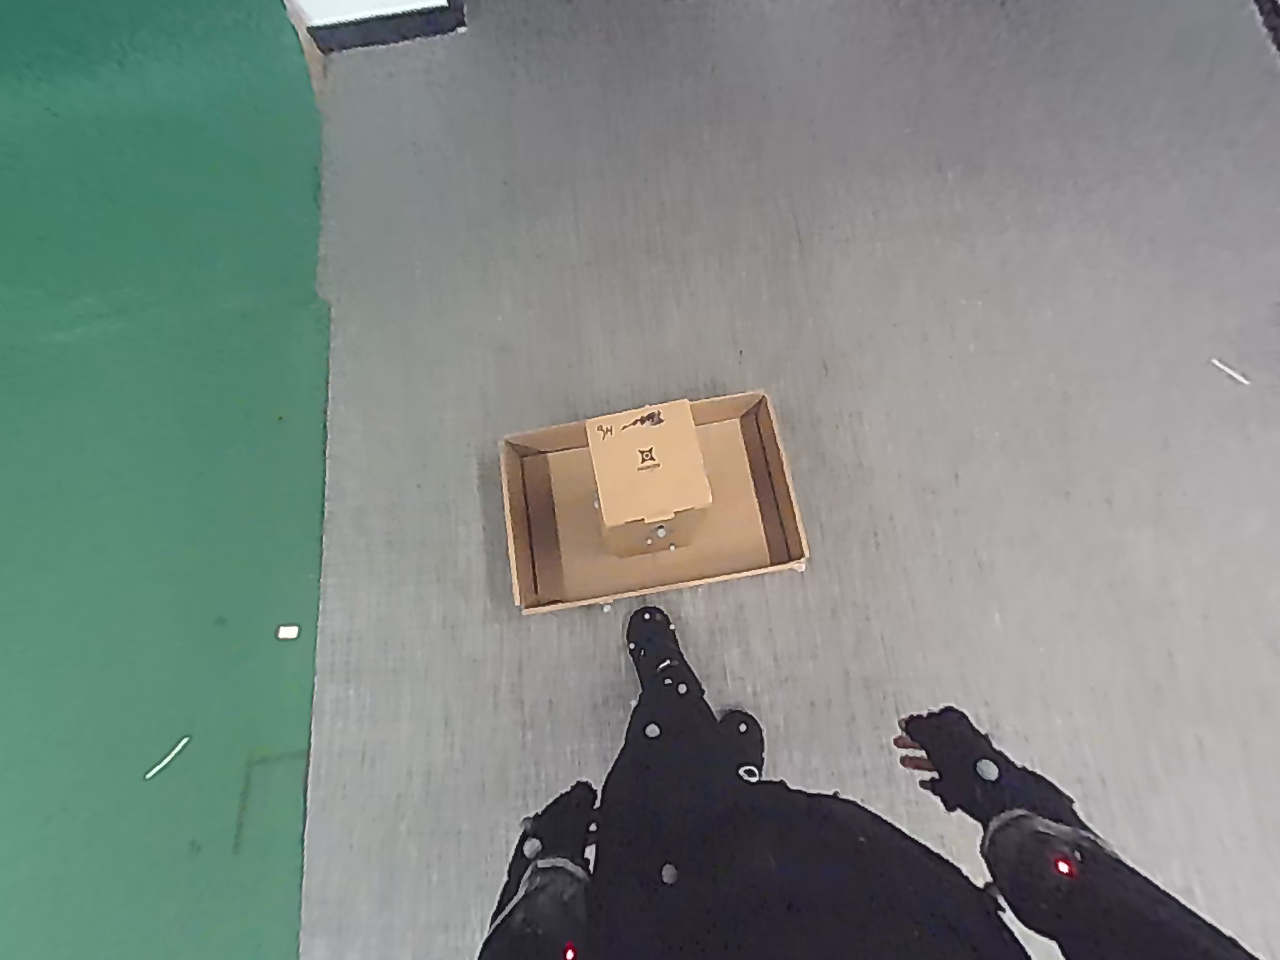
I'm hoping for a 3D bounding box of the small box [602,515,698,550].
[{"bbox_3d":[0.015,0.039,1.075,0.179,0.176,0.168,-9,74,1],"label":"small box"}]

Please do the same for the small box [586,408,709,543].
[{"bbox_3d":[0.017,0.004,0.918,0.168,0.176,0.179,-14,75,1],"label":"small box"}]

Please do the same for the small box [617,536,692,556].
[{"bbox_3d":[0.023,0.072,1.219,0.168,0.176,0.179,-10,74,0],"label":"small box"}]
